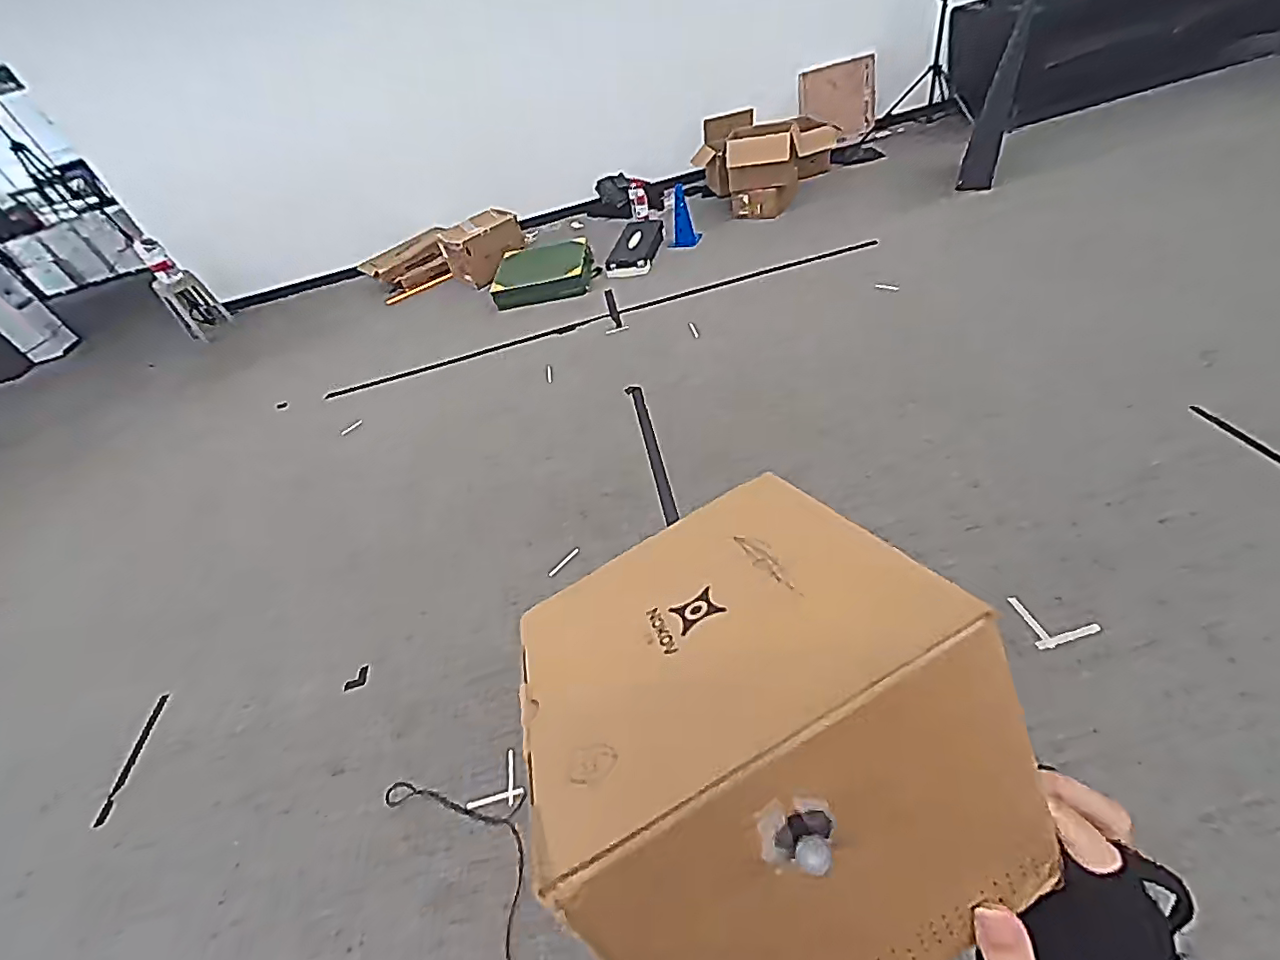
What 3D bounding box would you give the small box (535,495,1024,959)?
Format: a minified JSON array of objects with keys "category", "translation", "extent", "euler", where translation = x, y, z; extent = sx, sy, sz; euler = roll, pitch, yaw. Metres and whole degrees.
[{"category":"small box","translation":[0.063,0.141,0.293],"extent":[0.179,0.176,0.168],"euler":[-30,22,-4]}]
